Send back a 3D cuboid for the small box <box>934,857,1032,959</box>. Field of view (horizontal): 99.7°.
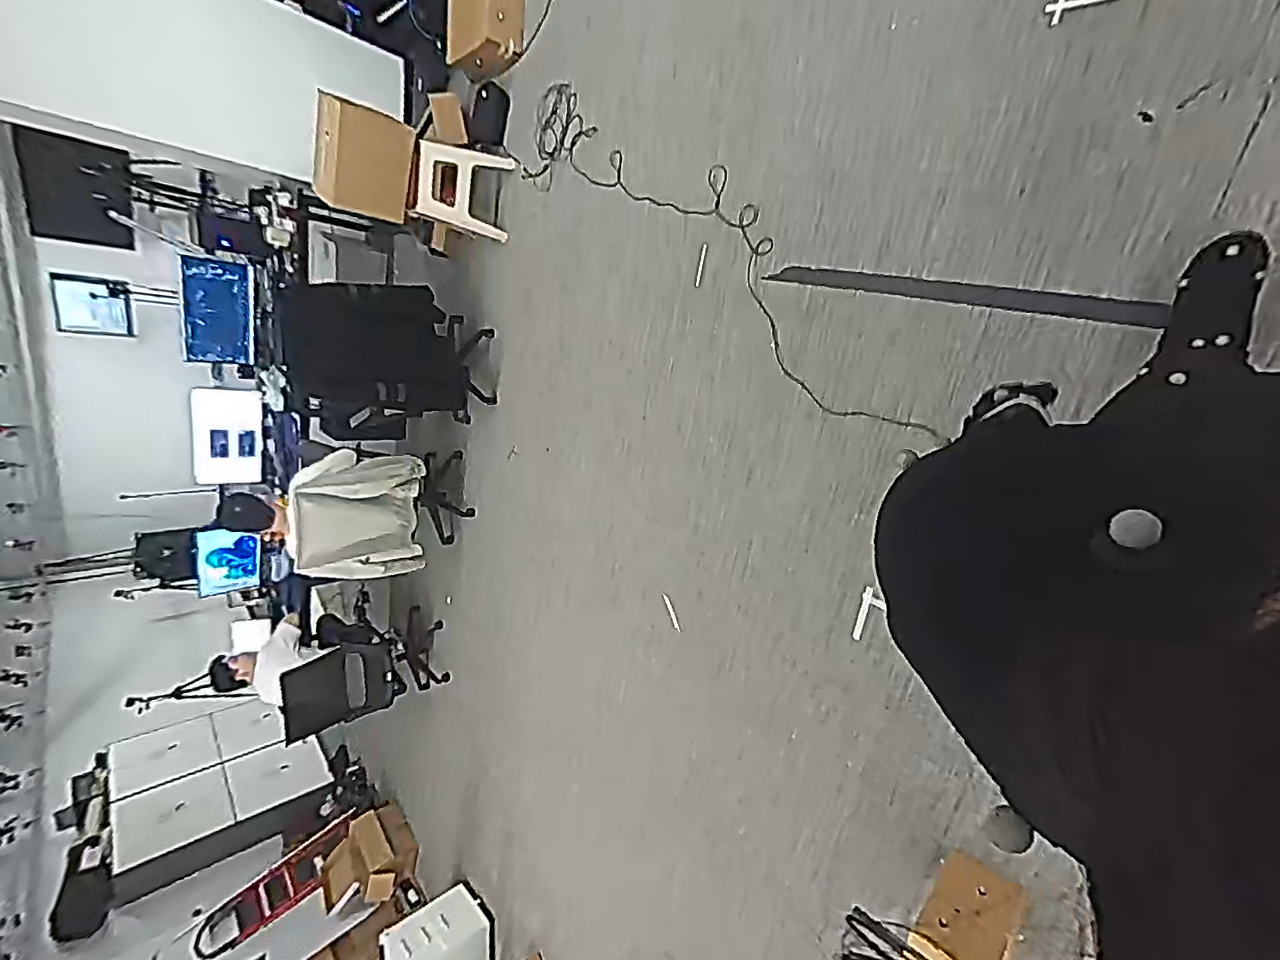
[{"bbox_3d":[0.862,1.108,1.372,0.179,0.176,0.168,15,106,43],"label":"small box"}]

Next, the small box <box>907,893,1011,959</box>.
[{"bbox_3d":[0.741,1.134,1.266,0.168,0.176,0.179,21,111,44],"label":"small box"}]
